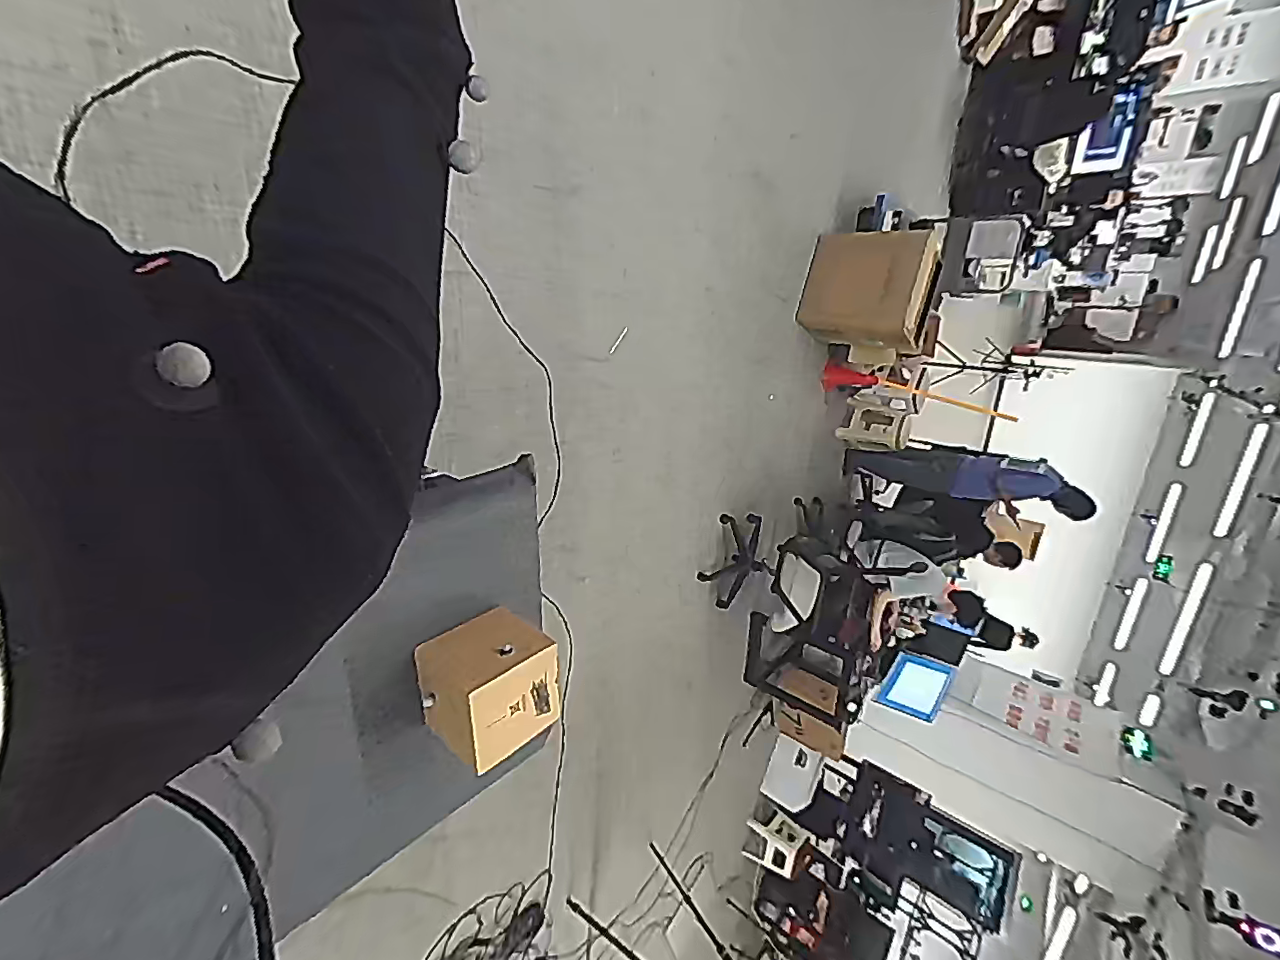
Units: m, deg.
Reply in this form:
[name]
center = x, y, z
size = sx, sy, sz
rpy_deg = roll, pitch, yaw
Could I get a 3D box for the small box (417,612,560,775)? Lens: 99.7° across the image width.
[small box]
center = -0.261, 0.357, 0.945
size = 0.179, 0.176, 0.168
rpy_deg = -21, 119, -45
